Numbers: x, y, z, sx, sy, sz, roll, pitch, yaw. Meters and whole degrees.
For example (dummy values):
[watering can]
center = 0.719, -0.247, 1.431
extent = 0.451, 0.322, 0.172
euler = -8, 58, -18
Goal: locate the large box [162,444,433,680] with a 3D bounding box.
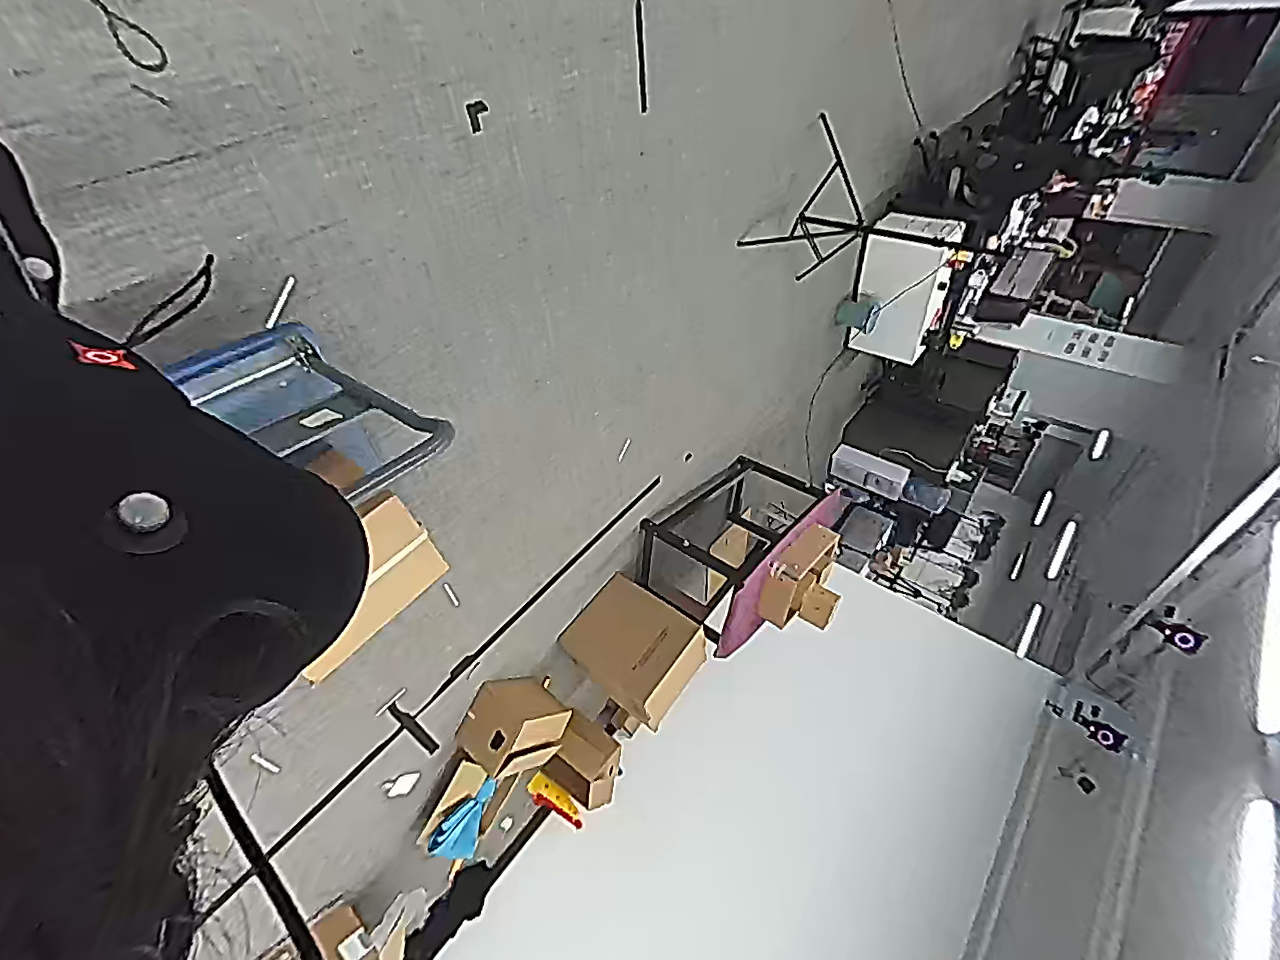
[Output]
[large box]
center = -0.806, 0.185, 1.318
extent = 0.408, 0.320, 0.320
euler = -44, 144, -27
